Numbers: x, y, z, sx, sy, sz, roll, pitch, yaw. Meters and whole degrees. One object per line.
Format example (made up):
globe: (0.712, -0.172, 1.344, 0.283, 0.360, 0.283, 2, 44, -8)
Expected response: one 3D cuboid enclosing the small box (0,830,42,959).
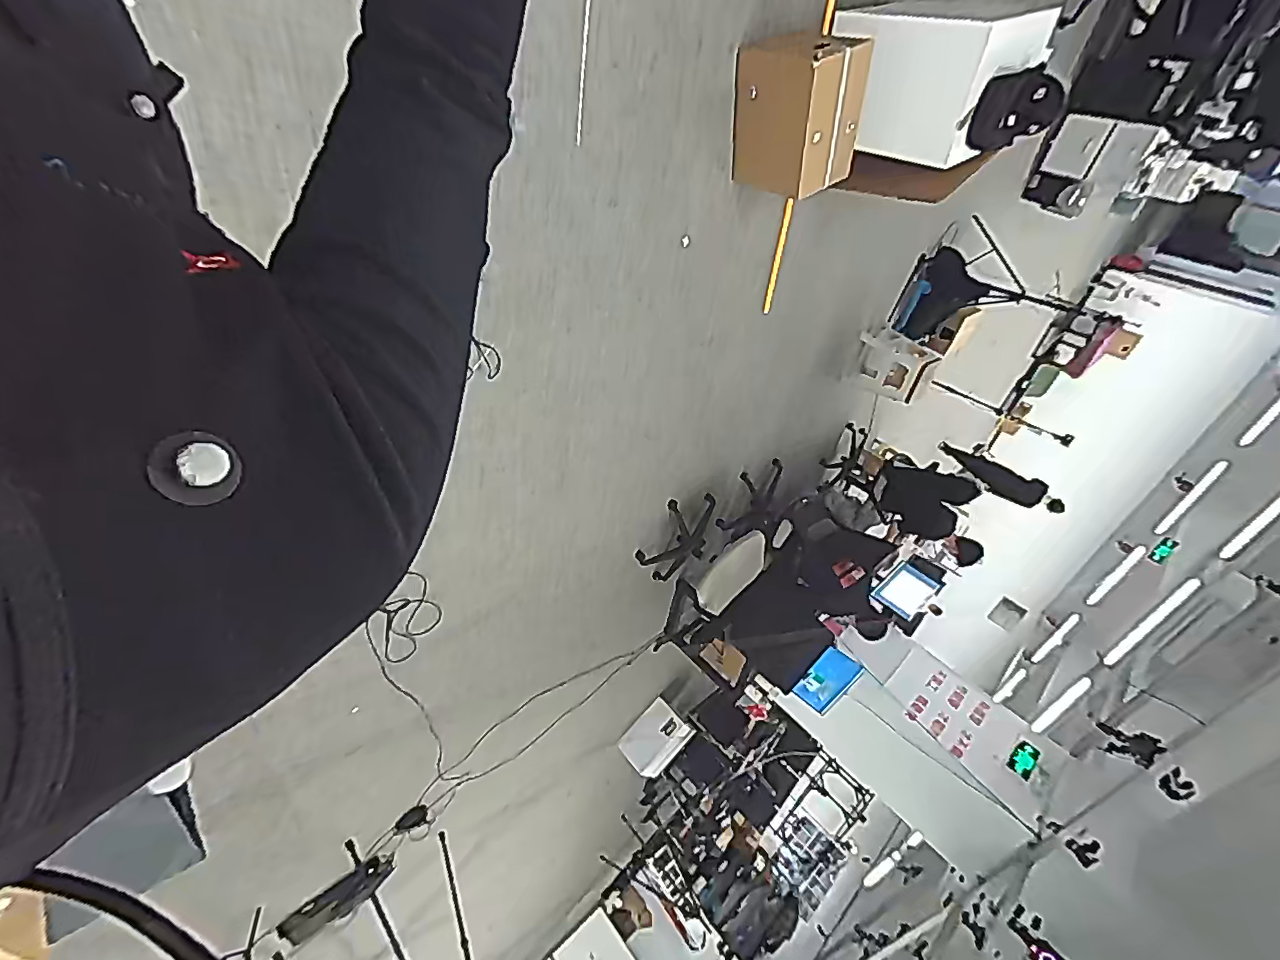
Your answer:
small box: (-0.880, 0.548, 0.648, 0.168, 0.176, 0.179, -23, 139, -36)
